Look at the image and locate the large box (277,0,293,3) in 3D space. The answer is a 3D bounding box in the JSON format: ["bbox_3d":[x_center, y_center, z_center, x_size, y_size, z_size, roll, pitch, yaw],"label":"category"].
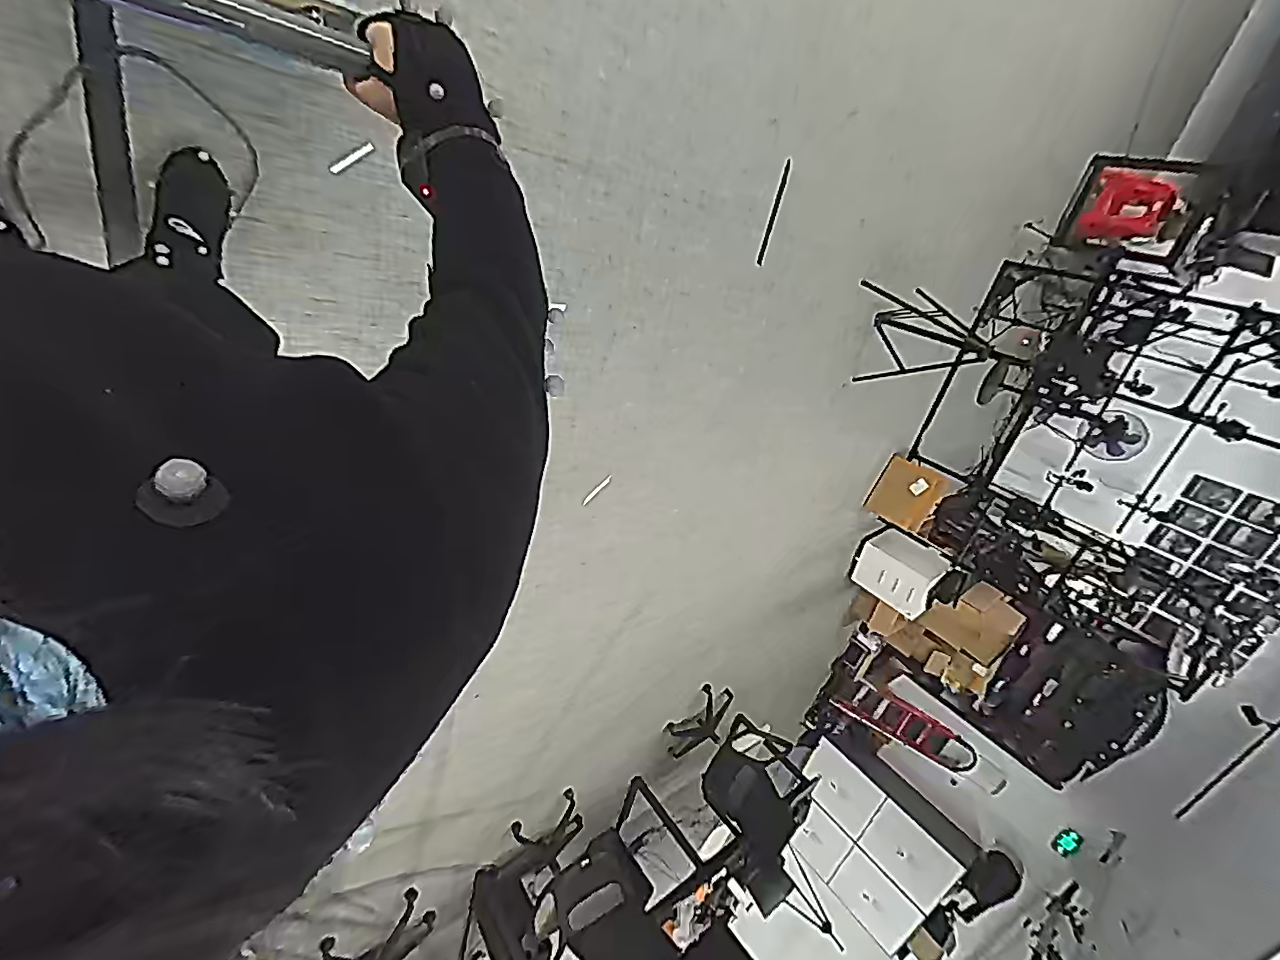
[{"bbox_3d":[-0.609,-0.826,0.618,0.408,0.320,0.320,-11,127,-41],"label":"large box"}]
